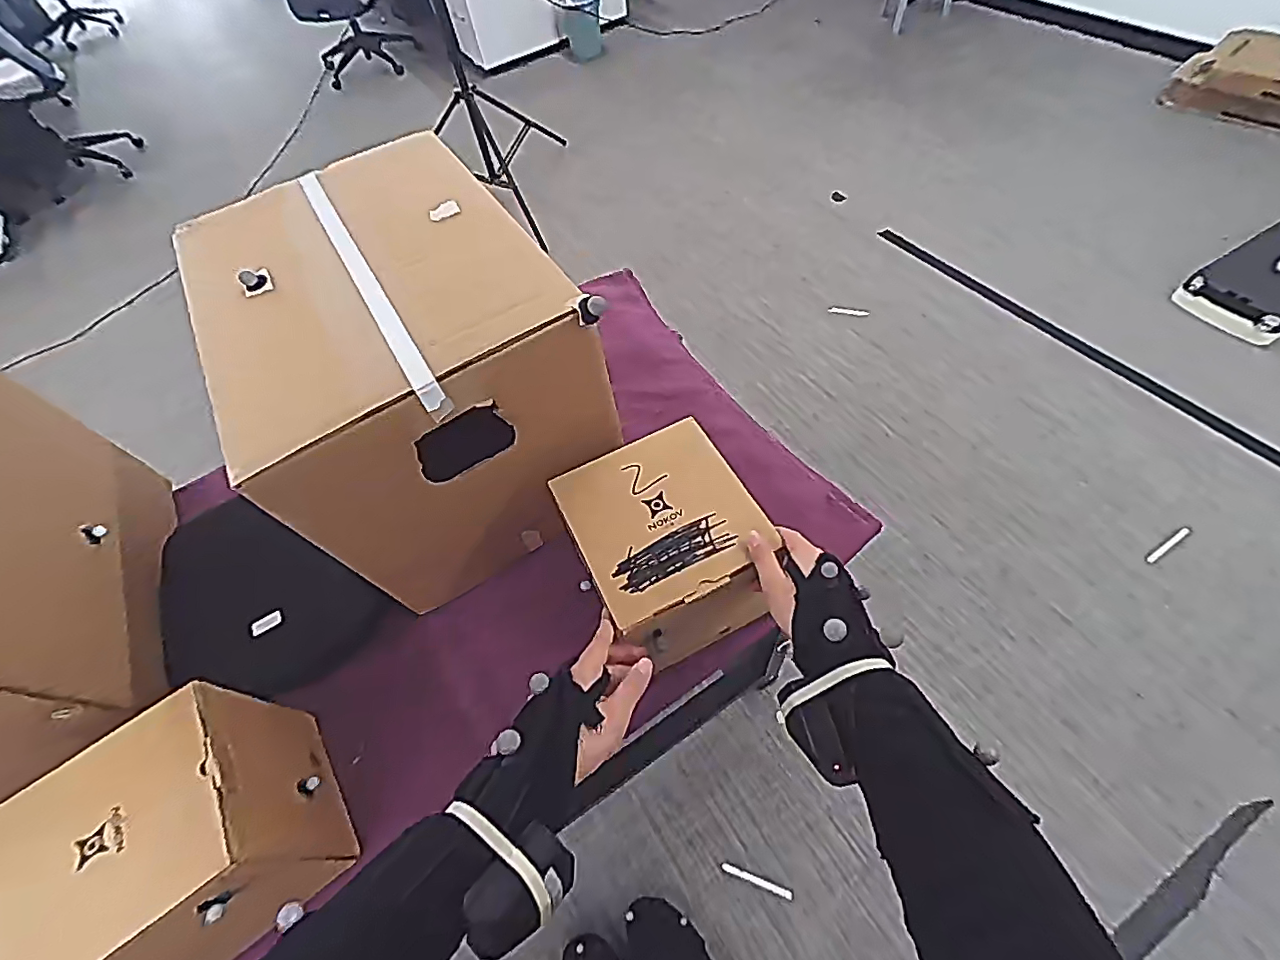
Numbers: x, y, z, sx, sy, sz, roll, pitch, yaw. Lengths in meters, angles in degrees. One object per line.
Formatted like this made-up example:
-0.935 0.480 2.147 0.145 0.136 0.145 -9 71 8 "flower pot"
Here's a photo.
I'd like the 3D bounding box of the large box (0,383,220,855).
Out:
-0.728 0.142 0.557 0.320 0.320 0.408 -32 62 -13 "large box"
